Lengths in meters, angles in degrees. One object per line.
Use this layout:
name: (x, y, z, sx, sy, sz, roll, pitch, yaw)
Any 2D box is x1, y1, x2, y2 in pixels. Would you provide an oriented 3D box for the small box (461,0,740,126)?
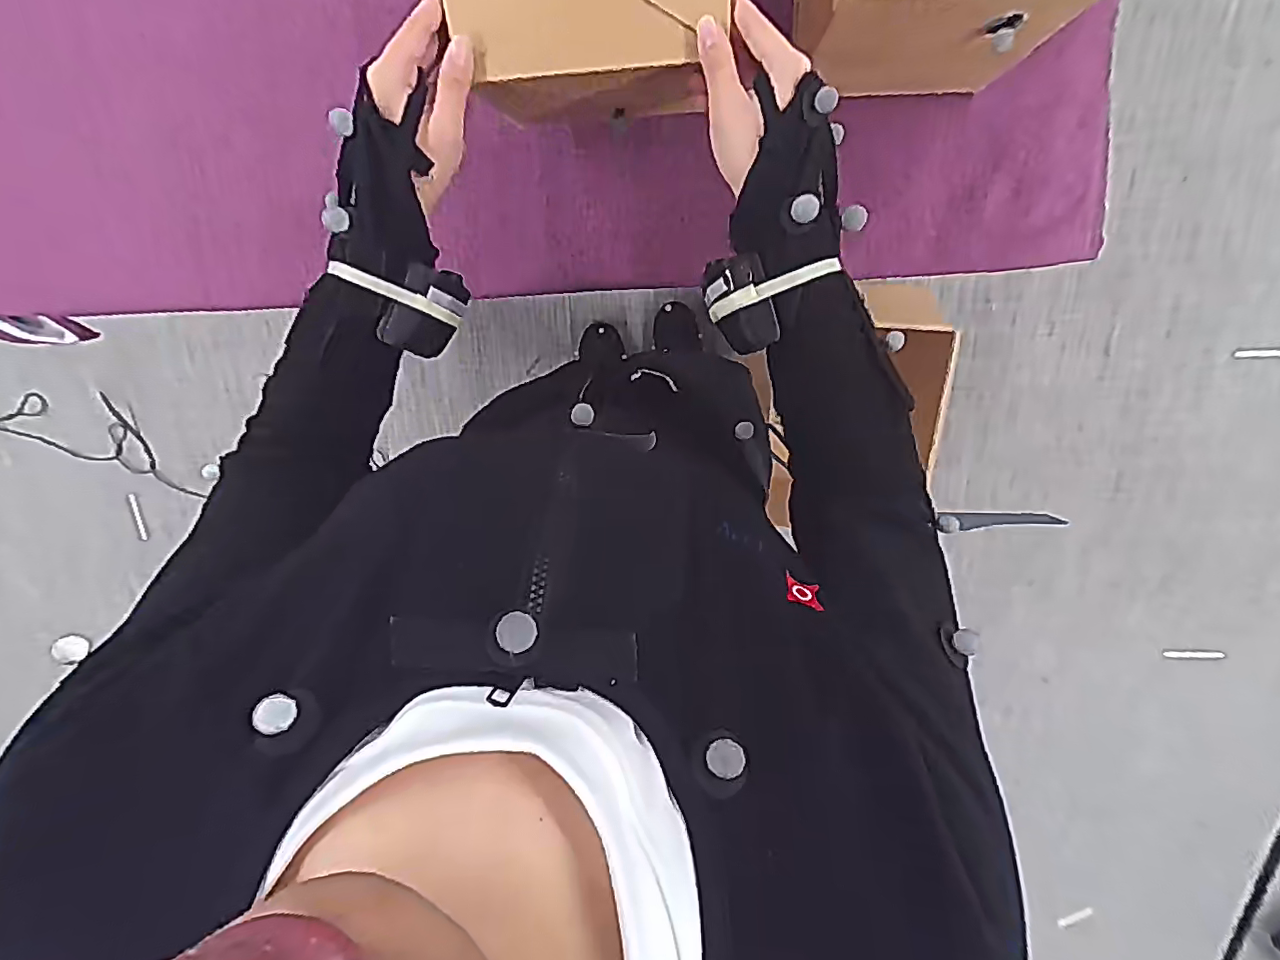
small box: (-0.028, -0.368, 0.379, 0.179, 0.176, 0.168, -2, 113, 5)

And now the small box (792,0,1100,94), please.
small box: (0.226, -0.419, 0.408, 0.179, 0.176, 0.168, 1, 105, 3)
